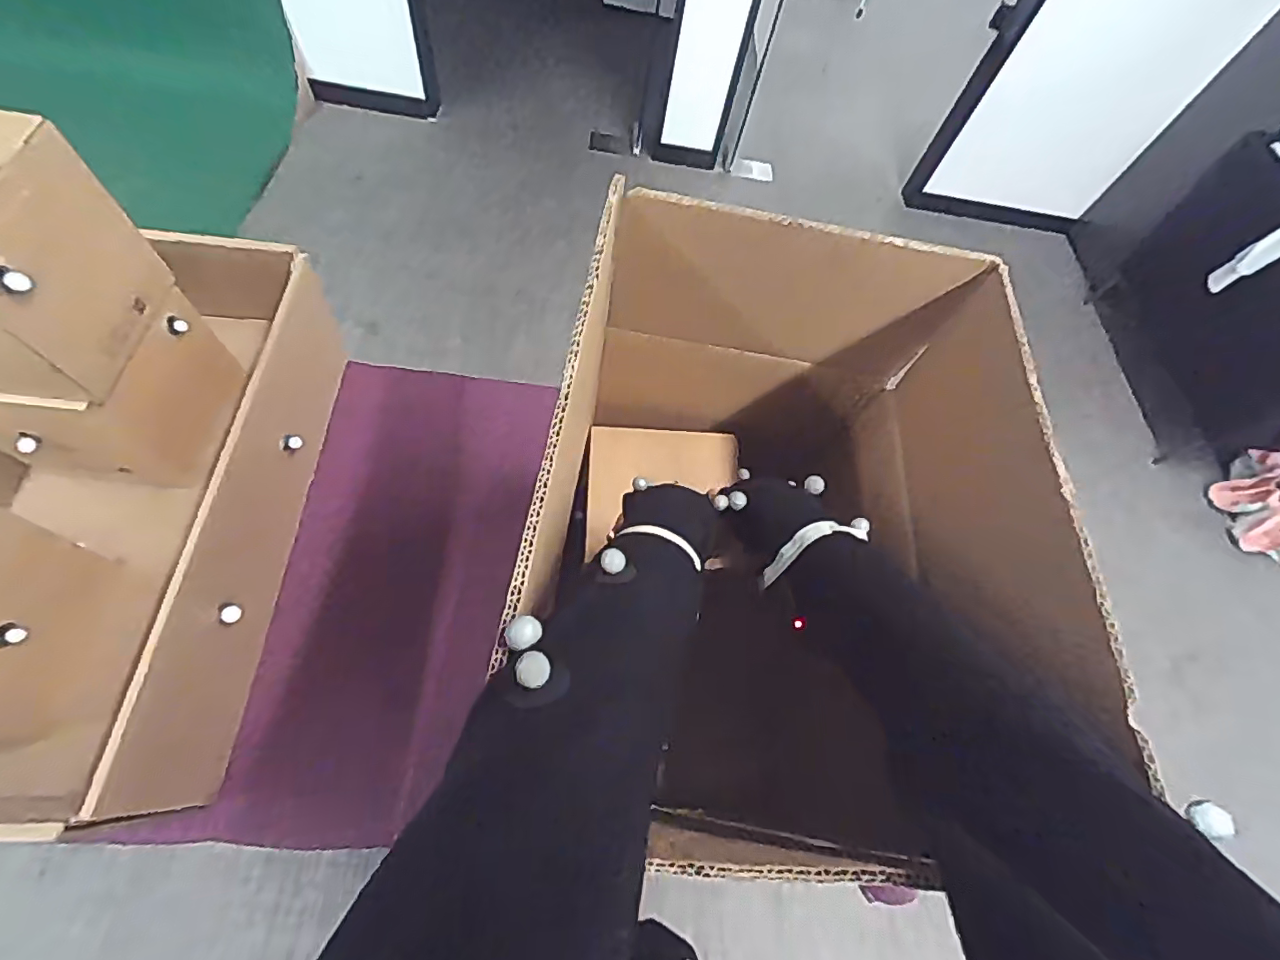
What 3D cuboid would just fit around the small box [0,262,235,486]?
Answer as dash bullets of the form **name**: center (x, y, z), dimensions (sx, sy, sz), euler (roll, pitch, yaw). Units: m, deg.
- **small box**: center (-0.604, -0.108, 0.604), dimensions (0.168, 0.176, 0.179), euler (6, 62, -5)
